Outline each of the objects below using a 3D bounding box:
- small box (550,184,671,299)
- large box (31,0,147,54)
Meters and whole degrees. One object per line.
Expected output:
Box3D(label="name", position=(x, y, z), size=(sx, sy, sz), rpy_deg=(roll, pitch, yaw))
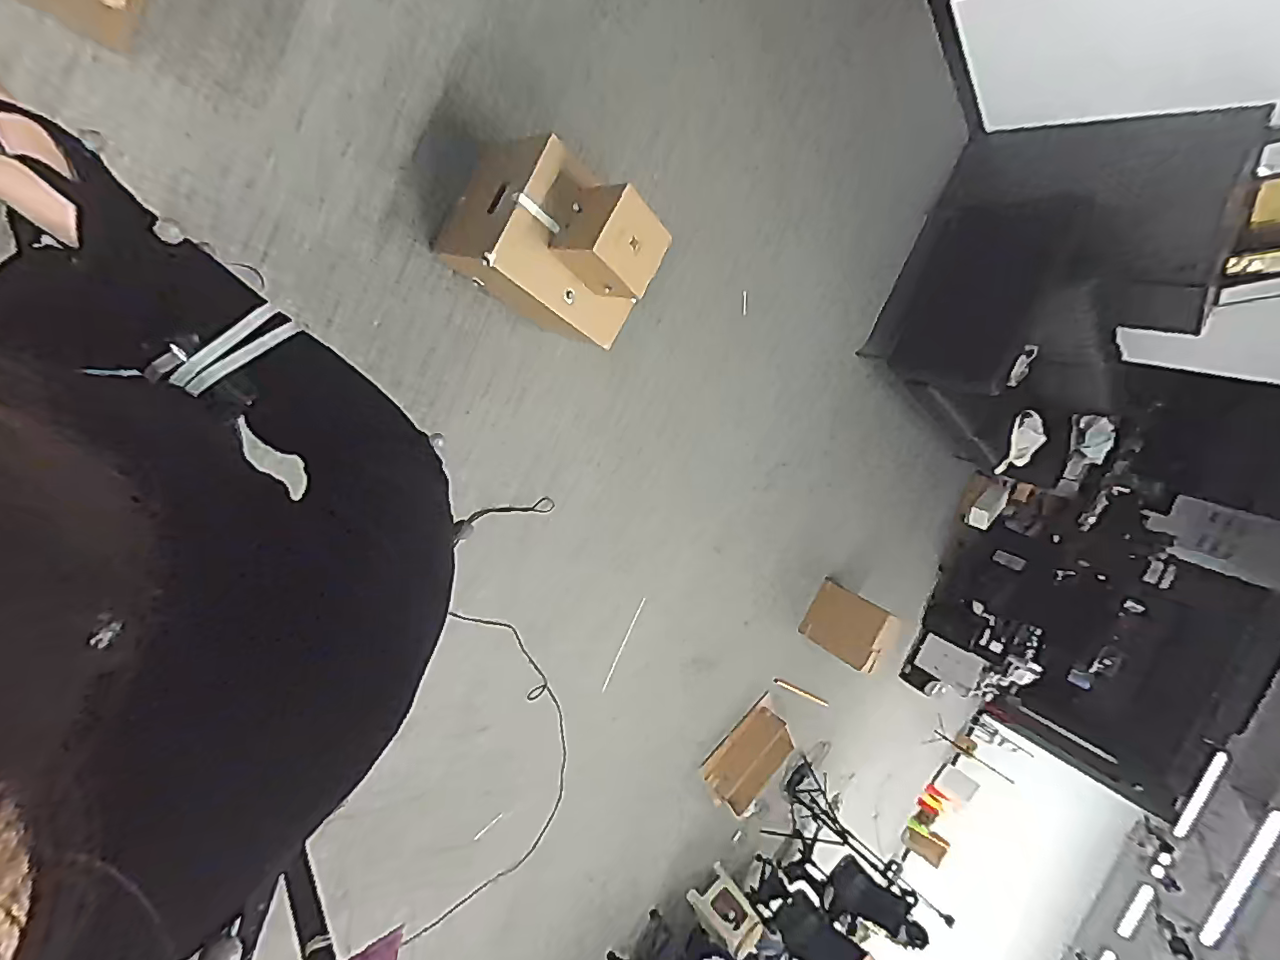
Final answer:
Box3D(label="small box", position=(-0.067, -0.541, 1.230), size=(0.179, 0.176, 0.168), rpy_deg=(32, 85, -47))
Box3D(label="large box", position=(-0.819, -0.894, 0.704), size=(0.320, 0.320, 0.408), rpy_deg=(18, 96, -46))
